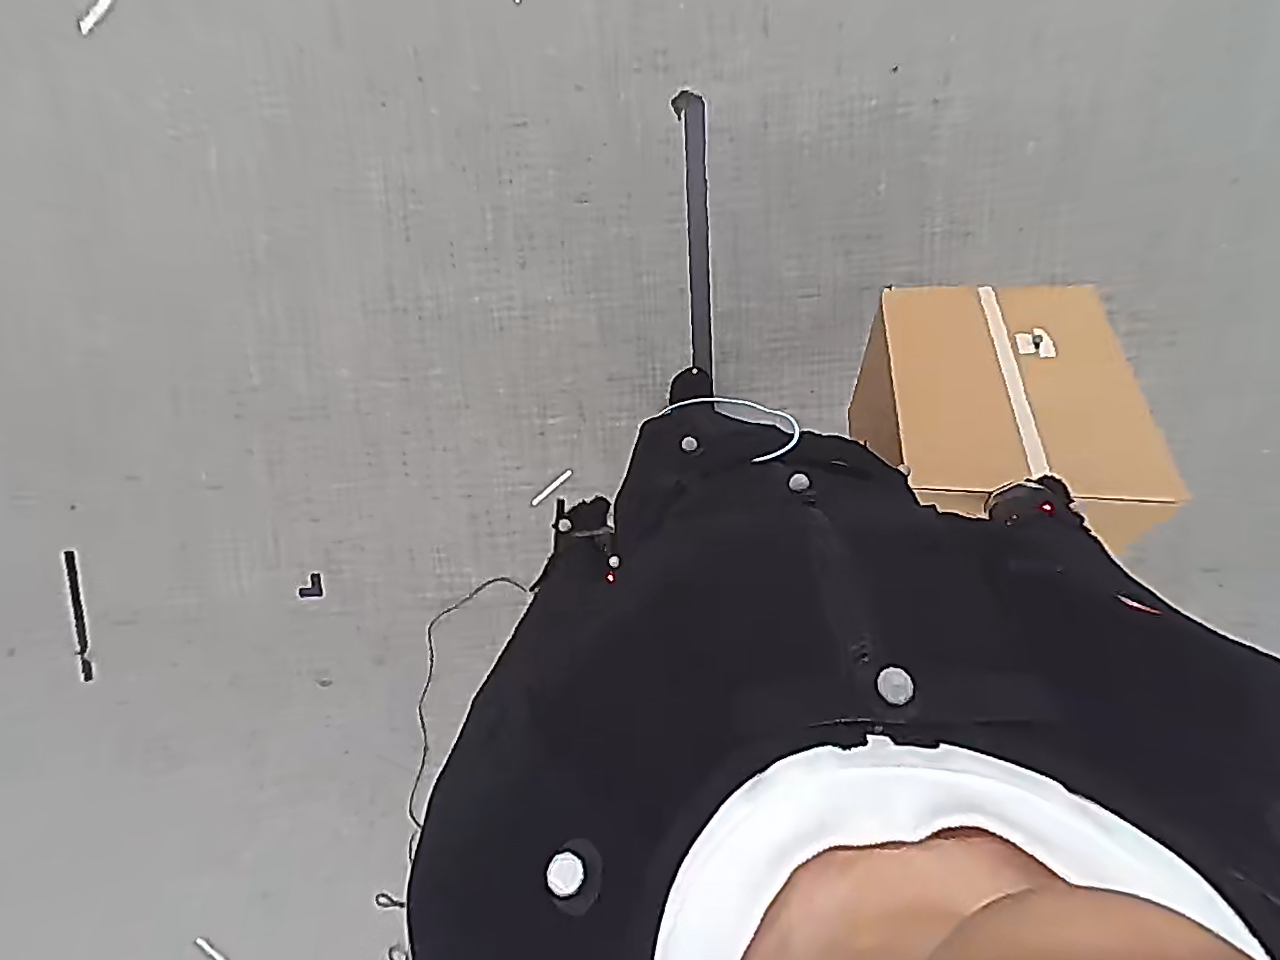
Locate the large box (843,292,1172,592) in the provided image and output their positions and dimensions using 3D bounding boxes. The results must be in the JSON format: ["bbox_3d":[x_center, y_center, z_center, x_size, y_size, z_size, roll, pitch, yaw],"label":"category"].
[{"bbox_3d":[0.541,-0.061,0.911,0.320,0.320,0.408,3,55,9],"label":"large box"}]
